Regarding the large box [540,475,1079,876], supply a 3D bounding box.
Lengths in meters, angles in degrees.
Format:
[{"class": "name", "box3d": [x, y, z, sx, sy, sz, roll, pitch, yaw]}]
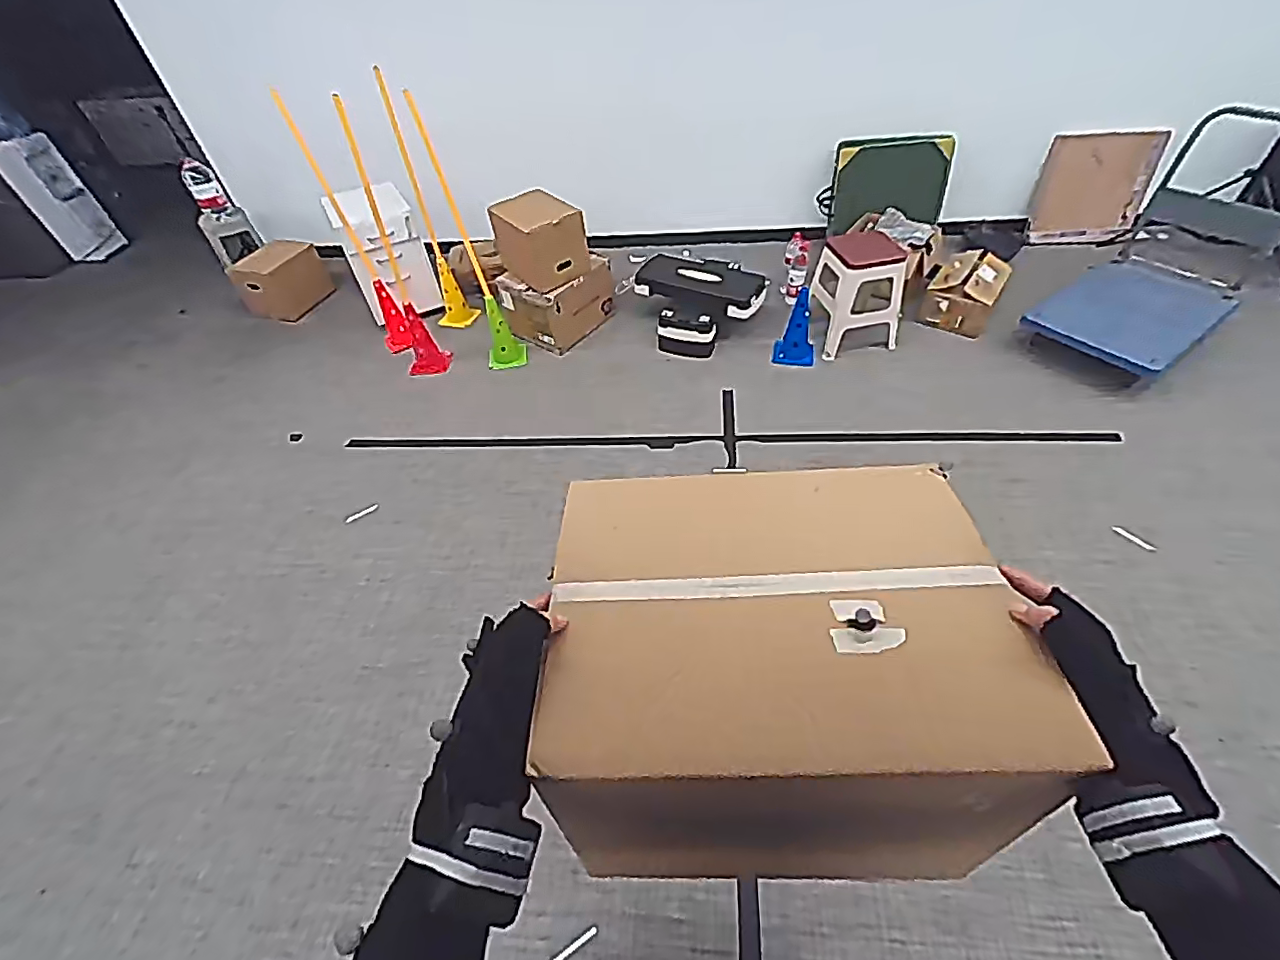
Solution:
[{"class": "large box", "box3d": [0.130, 0.217, 0.605, 0.408, 0.320, 0.320, -3, 43, 4]}]
